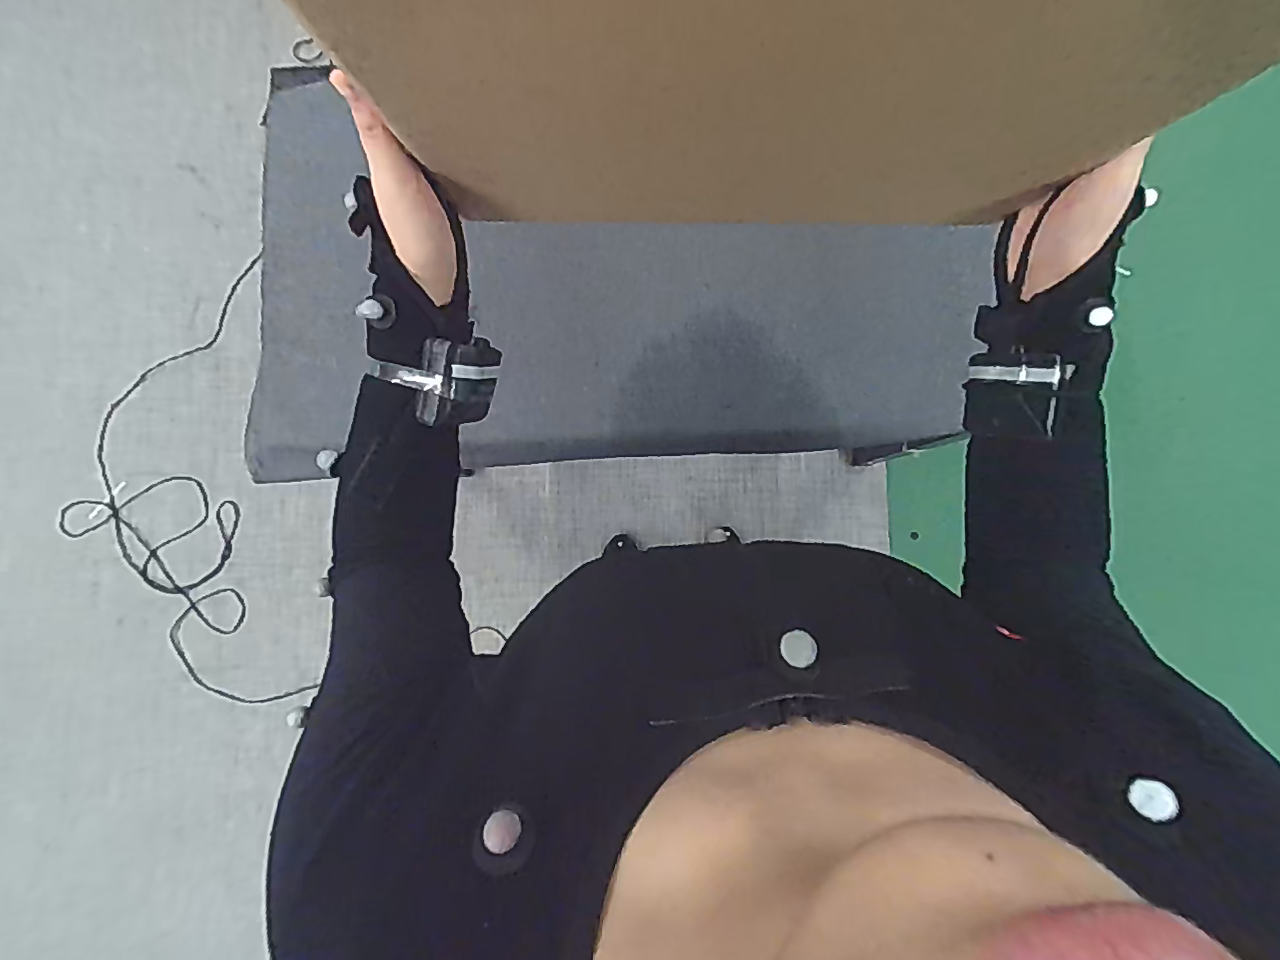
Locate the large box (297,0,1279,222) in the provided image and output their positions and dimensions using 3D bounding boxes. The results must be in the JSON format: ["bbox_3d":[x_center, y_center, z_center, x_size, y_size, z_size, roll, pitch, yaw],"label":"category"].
[{"bbox_3d":[0.063,-0.336,0.250,0.408,0.320,0.320,-1,97,-1],"label":"large box"}]
